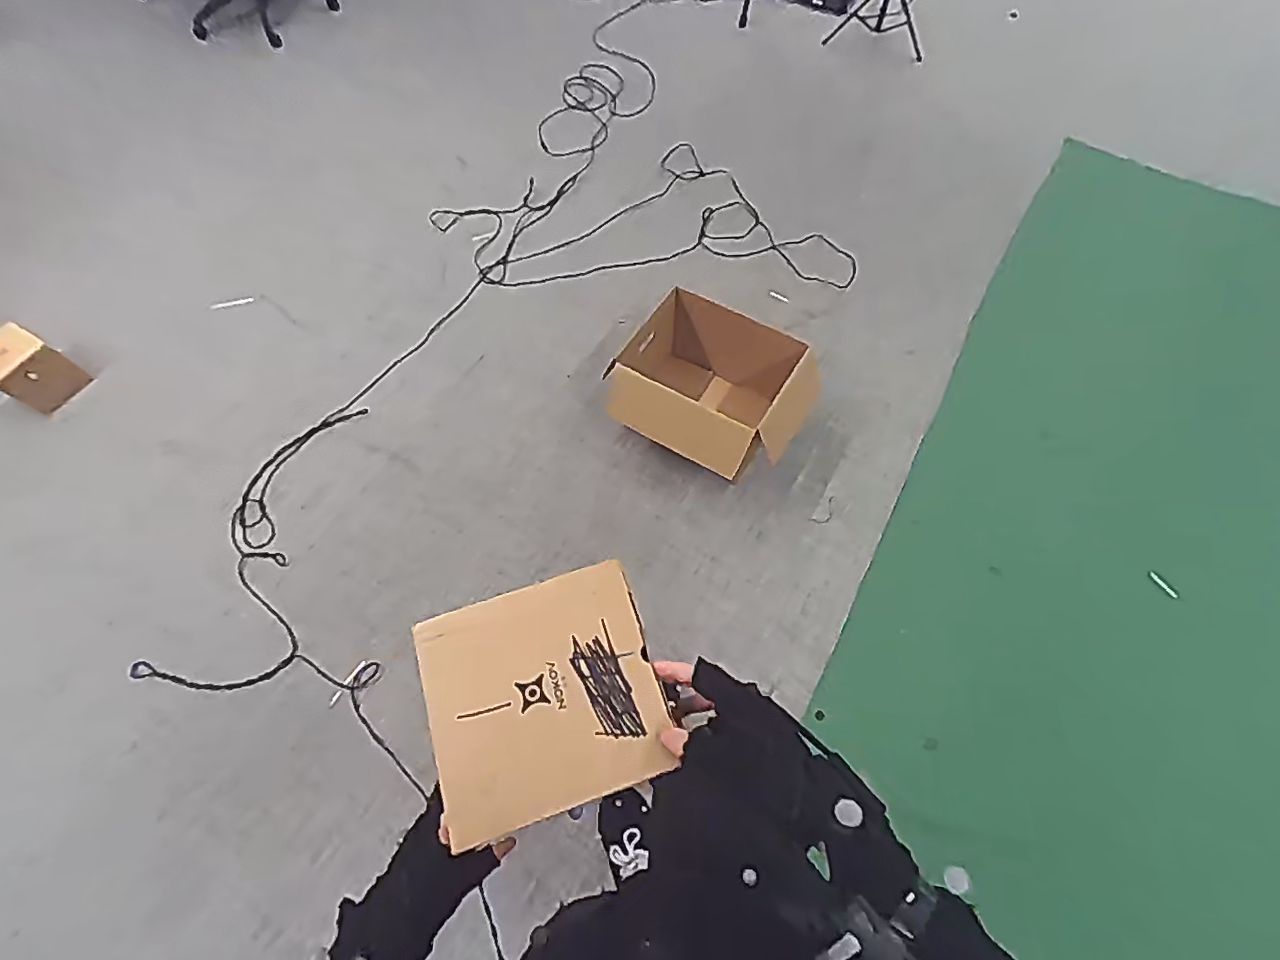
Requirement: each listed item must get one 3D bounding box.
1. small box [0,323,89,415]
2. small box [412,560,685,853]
[{"bbox_3d":[-1.846,-0.332,1.638,0.168,0.176,0.179,28,69,12],"label":"small box"},{"bbox_3d":[-0.076,0.191,0.482,0.179,0.176,0.168,-17,68,-8],"label":"small box"}]
